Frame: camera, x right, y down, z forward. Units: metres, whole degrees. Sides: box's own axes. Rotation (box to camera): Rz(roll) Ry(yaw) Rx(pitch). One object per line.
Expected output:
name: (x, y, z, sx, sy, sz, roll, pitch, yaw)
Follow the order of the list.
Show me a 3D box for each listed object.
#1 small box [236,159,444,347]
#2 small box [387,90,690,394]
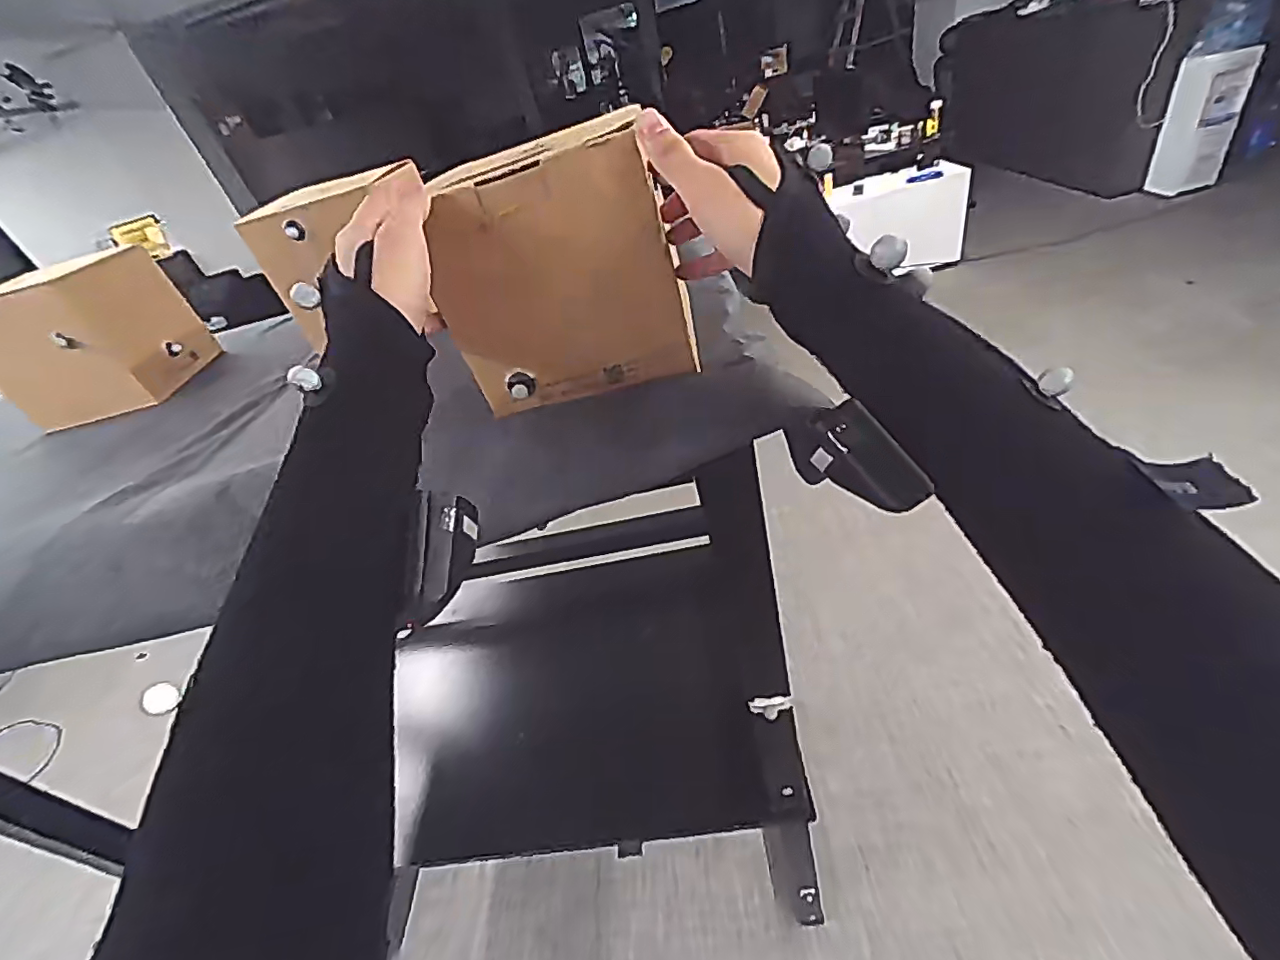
small box: (-0.355, -0.294, 0.703, 0.168, 0.176, 0.179, -13, 37, 7)
small box: (-0.059, -0.185, 0.439, 0.168, 0.176, 0.179, -13, 36, 11)
